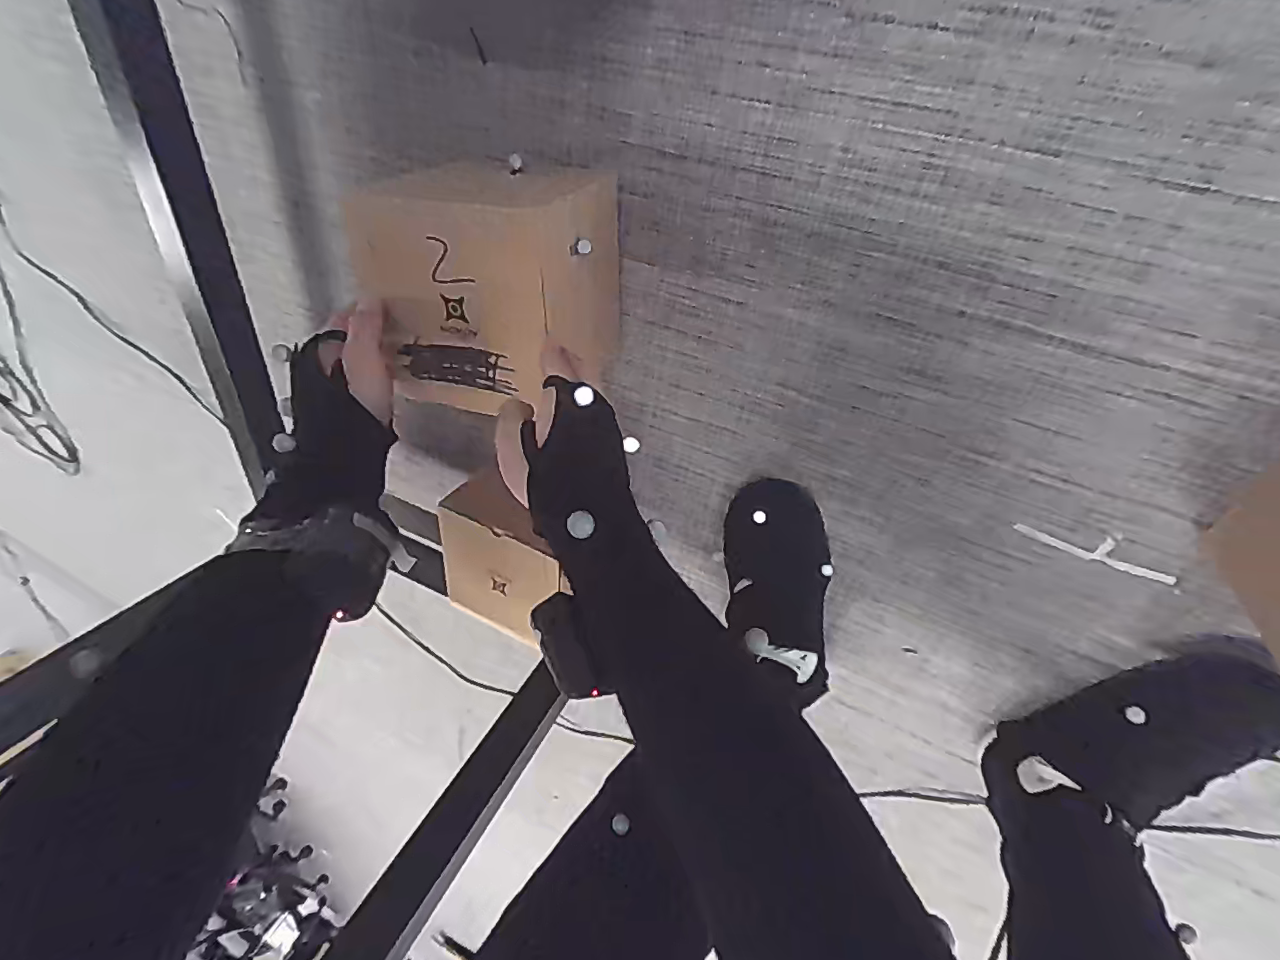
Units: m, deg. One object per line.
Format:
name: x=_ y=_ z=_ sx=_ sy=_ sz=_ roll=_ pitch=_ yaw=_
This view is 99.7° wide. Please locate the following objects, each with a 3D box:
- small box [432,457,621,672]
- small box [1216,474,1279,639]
small box: x=-0.136 y=0.099 z=0.692 sx=0.168 sy=0.176 sz=0.179 roll=20 pitch=126 yaw=17
small box: x=0.512 y=0.055 z=0.314 sx=0.168 sy=0.176 sz=0.179 roll=23 pitch=126 yaw=15
